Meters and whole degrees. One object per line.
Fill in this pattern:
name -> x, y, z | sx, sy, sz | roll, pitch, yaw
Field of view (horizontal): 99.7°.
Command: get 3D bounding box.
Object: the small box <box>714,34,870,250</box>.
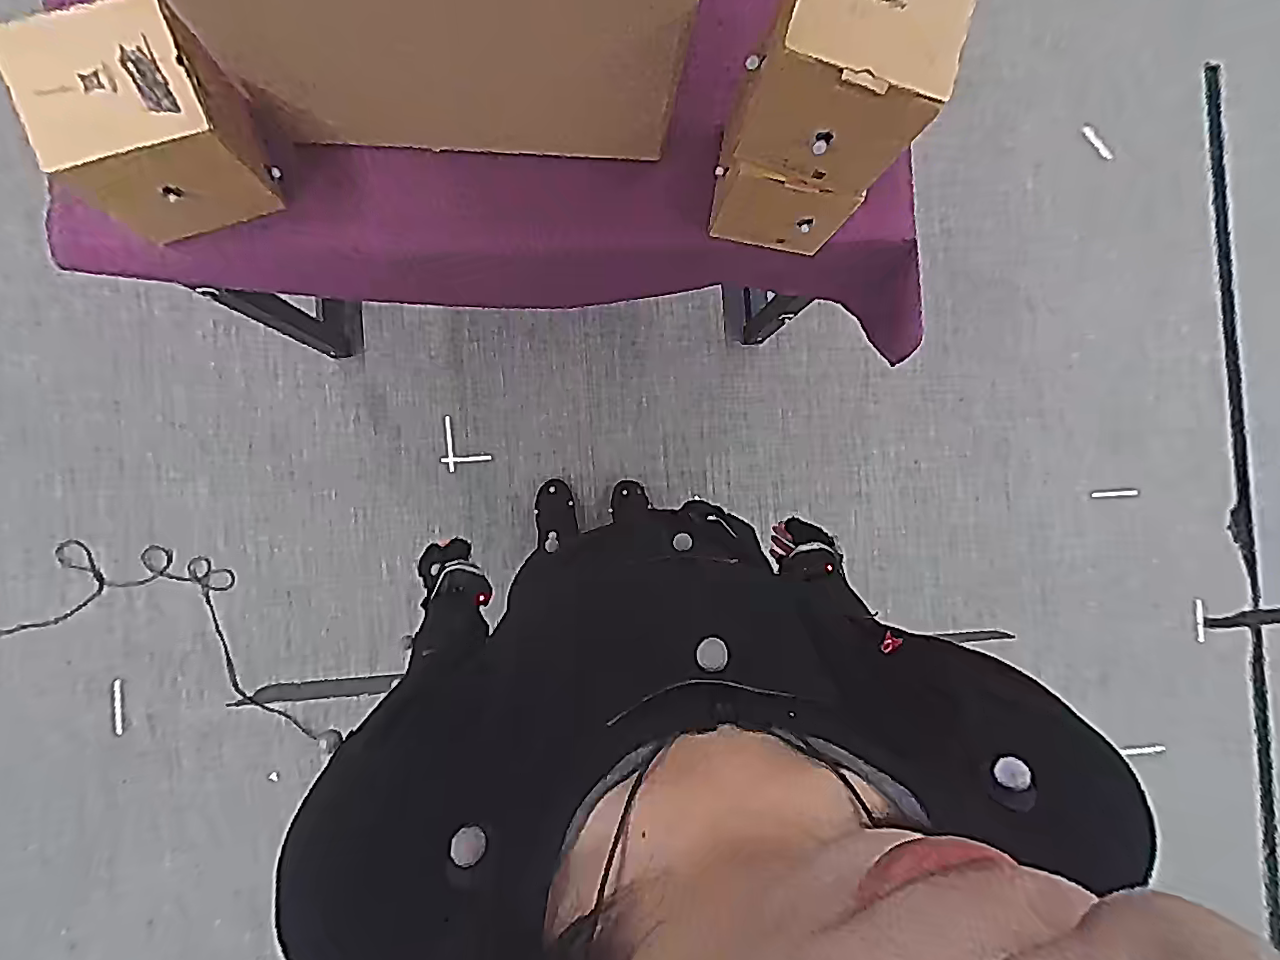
small box -> 0.206, -0.443, 0.739 | 0.168, 0.176, 0.179 | 9, 87, -6

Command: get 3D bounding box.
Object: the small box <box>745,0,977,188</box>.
small box -> 0.224, -0.452, 0.576 | 0.168, 0.176, 0.179 | 16, 88, -5
